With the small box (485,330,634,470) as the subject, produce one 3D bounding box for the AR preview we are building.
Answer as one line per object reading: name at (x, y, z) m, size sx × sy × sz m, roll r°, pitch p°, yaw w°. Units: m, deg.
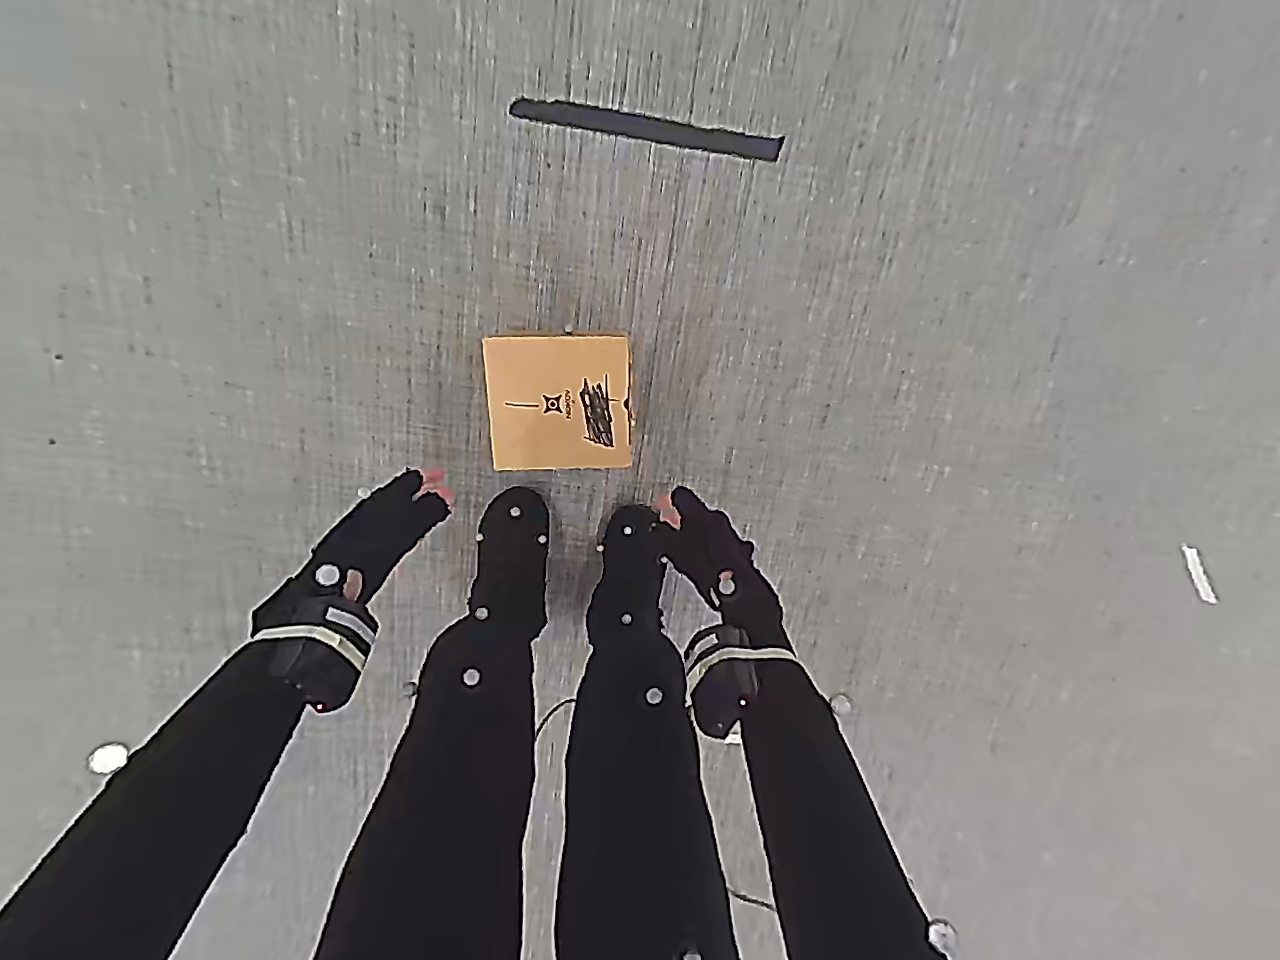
small box at (-0.101, -0.116, 0.735) m, size 0.179 × 0.176 × 0.168 m, roll -1°, pitch 107°, yaw -3°
